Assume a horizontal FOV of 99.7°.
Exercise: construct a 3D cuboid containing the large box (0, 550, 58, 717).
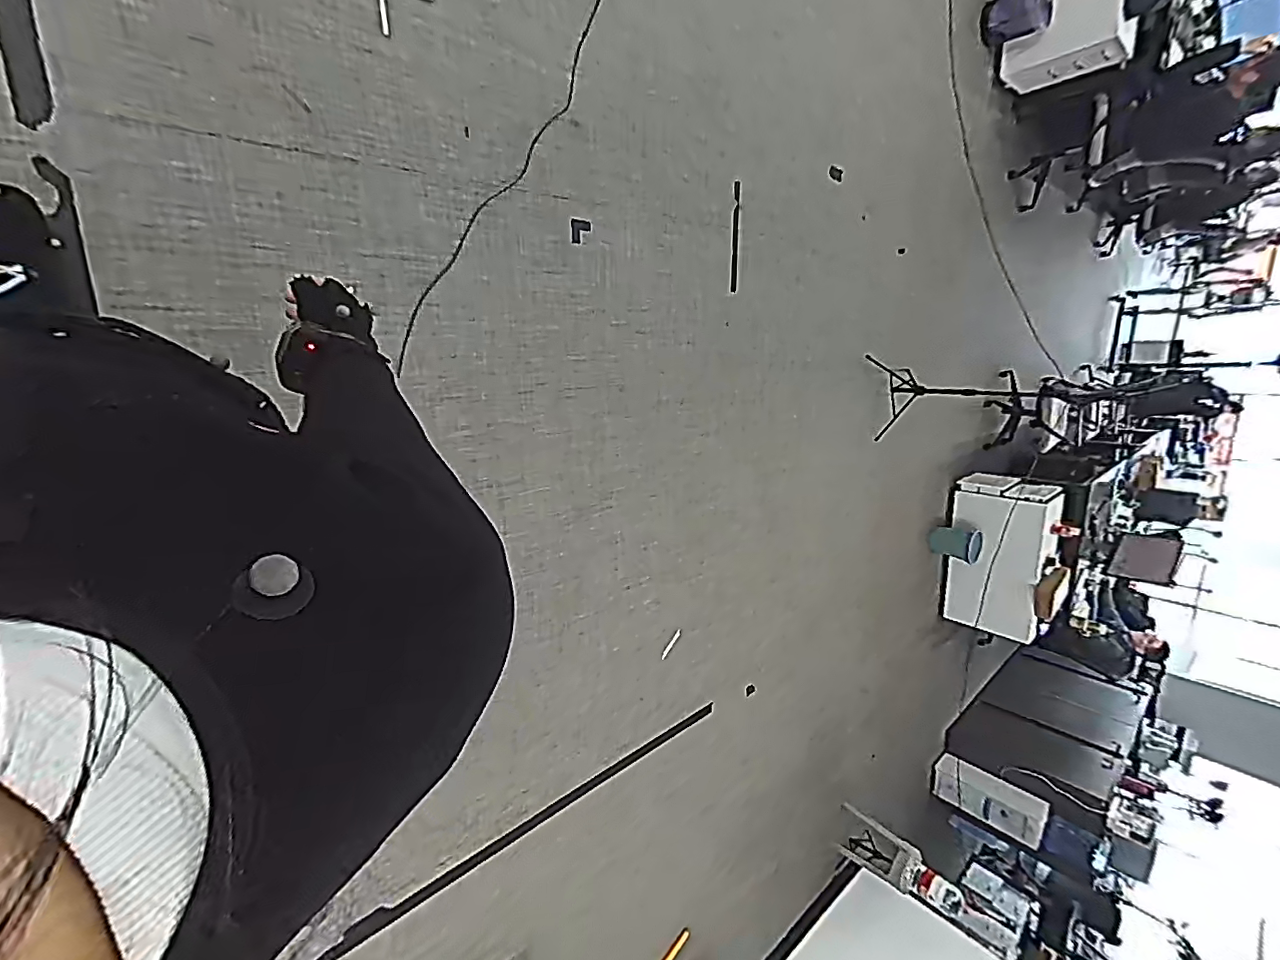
[{"bbox_3d":[-0.934,0.132,0.541,0.320,0.408,0.320,-40,149,-32],"label":"large box"}]
